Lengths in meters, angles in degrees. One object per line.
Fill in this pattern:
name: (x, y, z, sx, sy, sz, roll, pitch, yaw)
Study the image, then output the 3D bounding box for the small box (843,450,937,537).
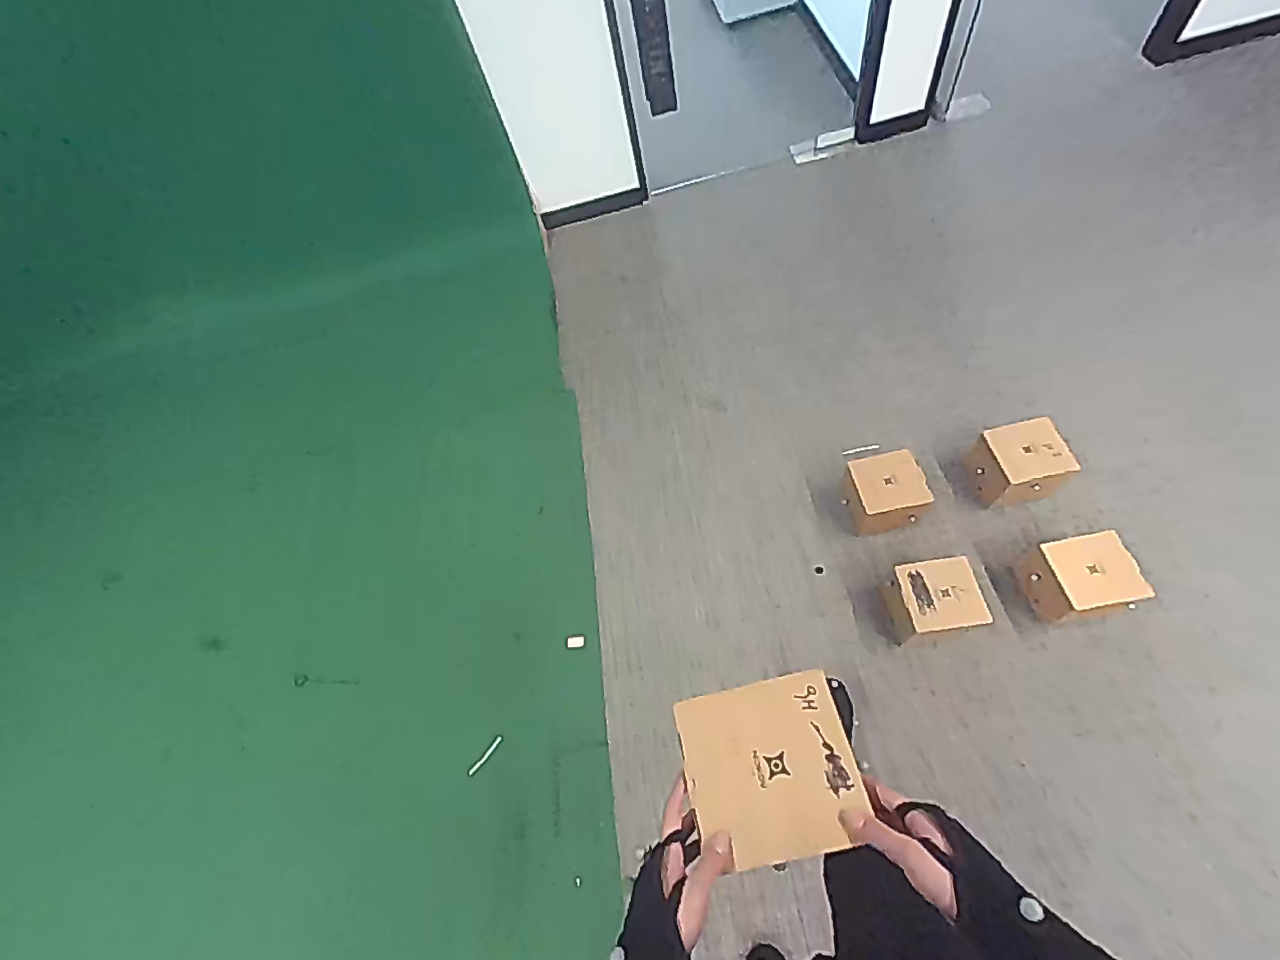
small box: (0.683, 0.042, 1.499, 0.179, 0.176, 0.168, -12, 60, 6)

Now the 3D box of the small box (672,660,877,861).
small box: (0.149, 0.326, 0.630, 0.179, 0.176, 0.168, -15, 59, 5)

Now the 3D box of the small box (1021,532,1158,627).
small box: (1.068, 0.247, 1.312, 0.179, 0.176, 0.168, -12, 61, 4)

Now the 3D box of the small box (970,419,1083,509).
small box: (1.031, -0.037, 1.465, 0.179, 0.176, 0.168, -12, 61, 5)
